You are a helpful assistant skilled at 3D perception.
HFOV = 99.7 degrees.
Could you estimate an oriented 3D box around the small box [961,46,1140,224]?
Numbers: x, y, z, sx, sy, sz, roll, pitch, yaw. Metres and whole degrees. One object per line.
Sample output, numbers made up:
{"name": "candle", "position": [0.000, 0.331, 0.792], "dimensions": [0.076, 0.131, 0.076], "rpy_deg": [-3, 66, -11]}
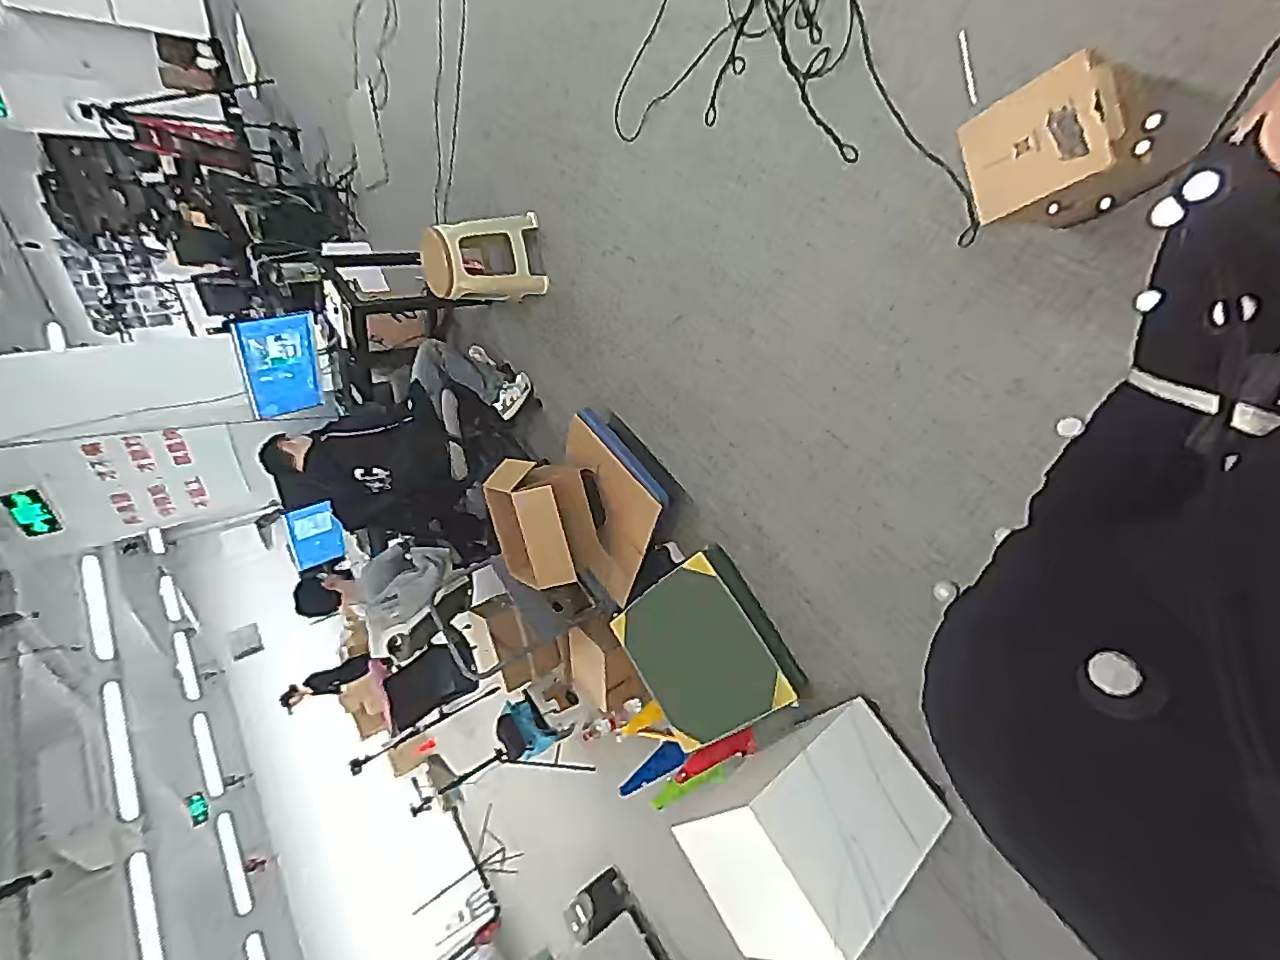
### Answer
{"name": "small box", "position": [0.651, -0.528, 0.855], "dimensions": [0.179, 0.176, 0.168], "rpy_deg": [-12, 95, 55]}

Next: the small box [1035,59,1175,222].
{"name": "small box", "position": [0.784, -0.578, 0.941], "dimensions": [0.168, 0.176, 0.179], "rpy_deg": [-21, 89, 55]}
